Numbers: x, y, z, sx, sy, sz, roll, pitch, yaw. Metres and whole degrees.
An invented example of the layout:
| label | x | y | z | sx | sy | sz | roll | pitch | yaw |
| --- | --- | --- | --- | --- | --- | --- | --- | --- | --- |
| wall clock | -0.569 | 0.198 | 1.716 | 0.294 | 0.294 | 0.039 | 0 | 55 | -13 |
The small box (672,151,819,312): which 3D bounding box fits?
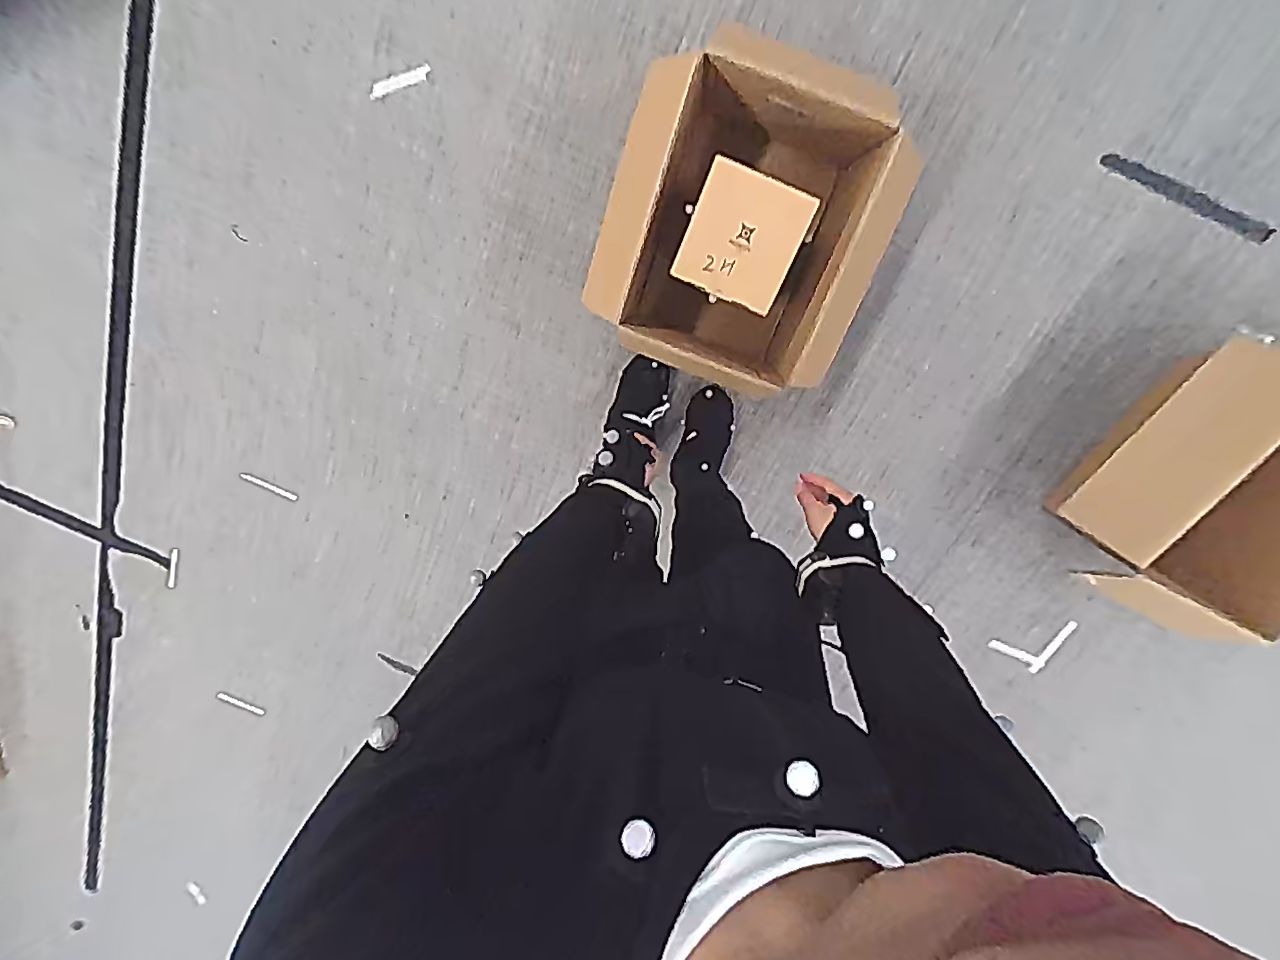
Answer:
| label | x | y | z | sx | sy | sz | roll | pitch | yaw |
| --- | --- | --- | --- | --- | --- | --- | --- | --- | --- |
| small box | 0.160 | -0.394 | 0.879 | 0.168 | 0.176 | 0.179 | 23 | 112 | -3 |
